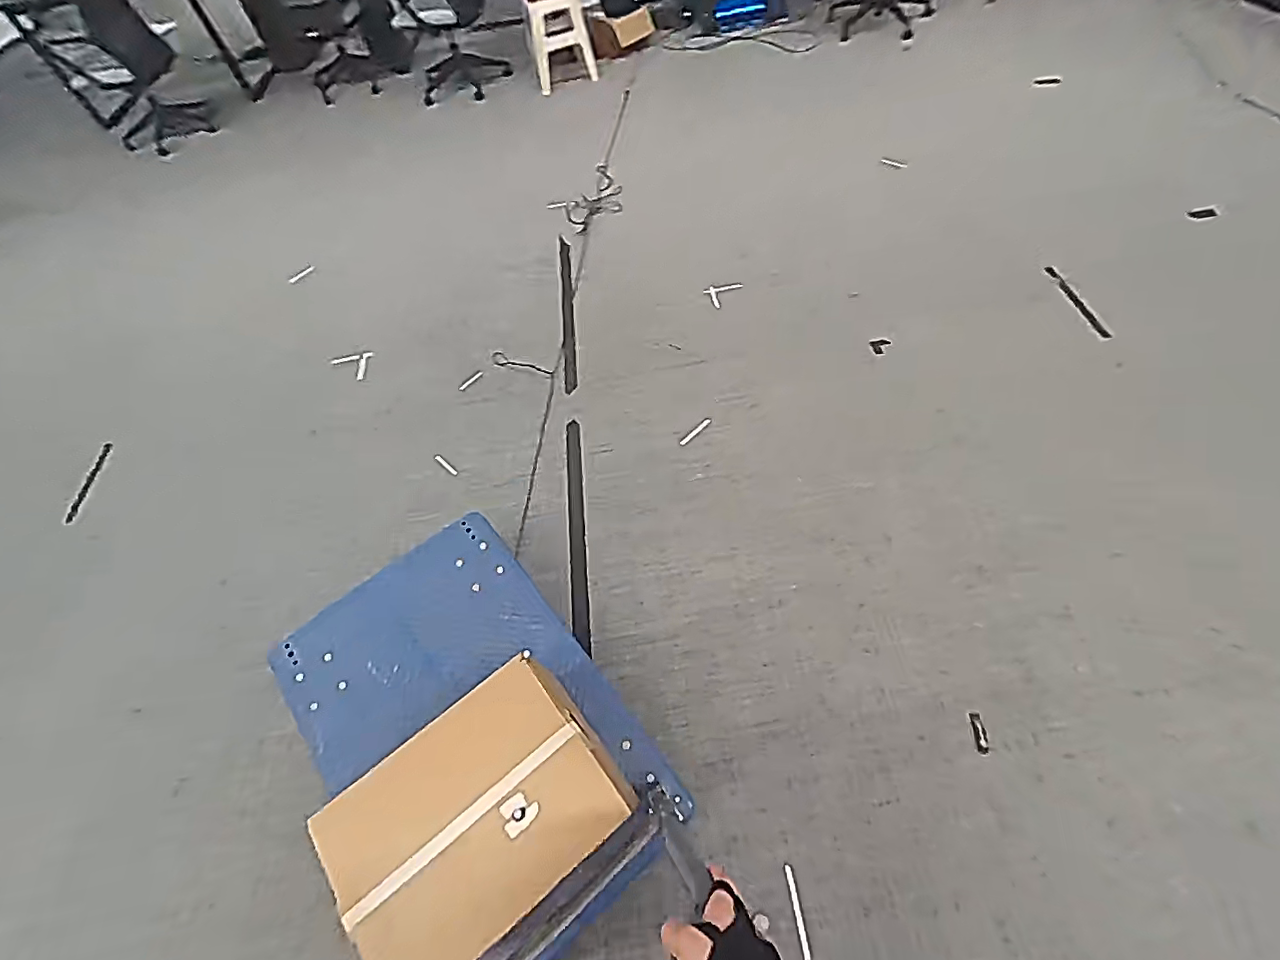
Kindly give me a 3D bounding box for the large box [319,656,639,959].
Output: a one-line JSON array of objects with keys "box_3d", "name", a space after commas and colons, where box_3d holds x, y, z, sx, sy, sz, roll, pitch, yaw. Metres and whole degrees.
[{"box_3d": [-0.251, 0.595, 0.969, 0.408, 0.320, 0.320, -37, 67, -17], "name": "large box"}]
